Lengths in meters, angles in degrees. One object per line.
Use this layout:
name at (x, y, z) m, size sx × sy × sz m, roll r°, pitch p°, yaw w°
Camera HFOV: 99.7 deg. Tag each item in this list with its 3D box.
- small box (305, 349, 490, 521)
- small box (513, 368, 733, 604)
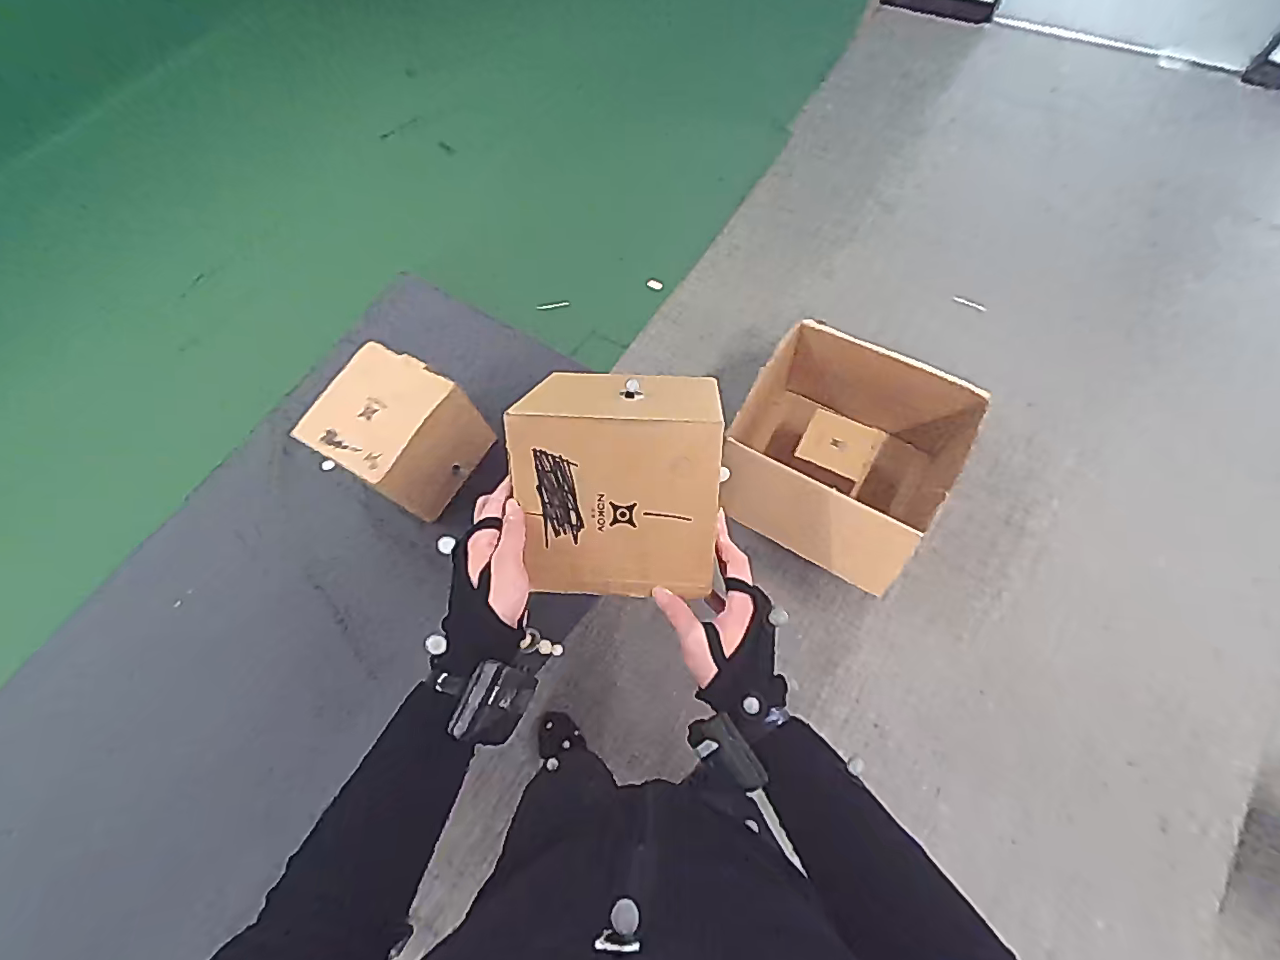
small box at (-0.355, -0.063, 0.837) m, size 0.168 × 0.176 × 0.179 m, roll 25°, pitch 73°, yaw 14°
small box at (-0.012, -0.006, 0.524) m, size 0.179 × 0.168 × 0.176 m, roll 7°, pitch 25°, yaw 3°
